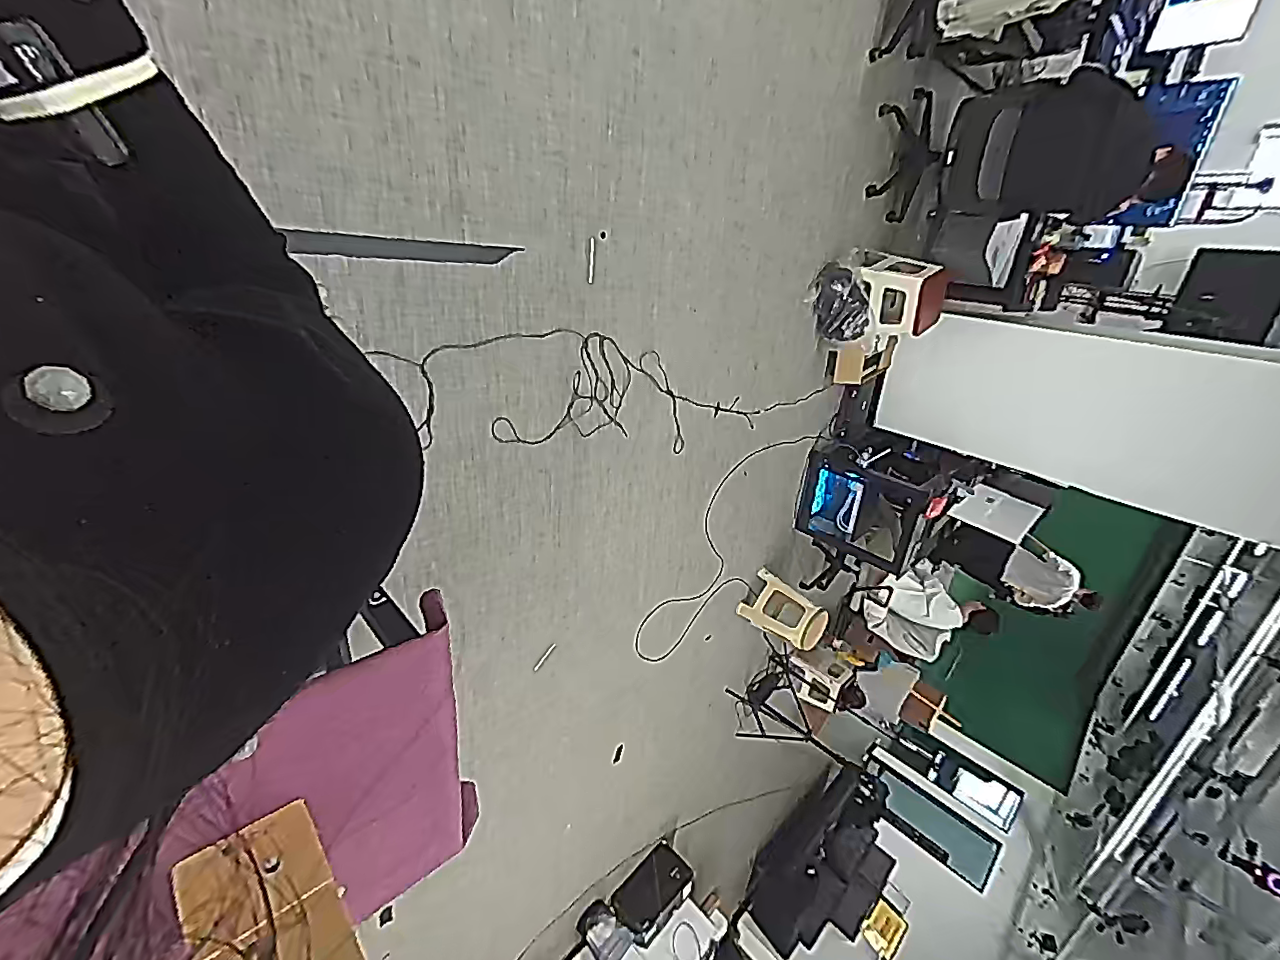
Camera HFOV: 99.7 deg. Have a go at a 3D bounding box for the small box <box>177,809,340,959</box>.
[{"bbox_3d":[-0.565,0.642,0.815,0.168,0.176,0.179,-17,123,-42],"label":"small box"}]

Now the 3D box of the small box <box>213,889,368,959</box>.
[{"bbox_3d":[-0.451,0.704,0.715,0.168,0.176,0.179,-18,124,-42],"label":"small box"}]
